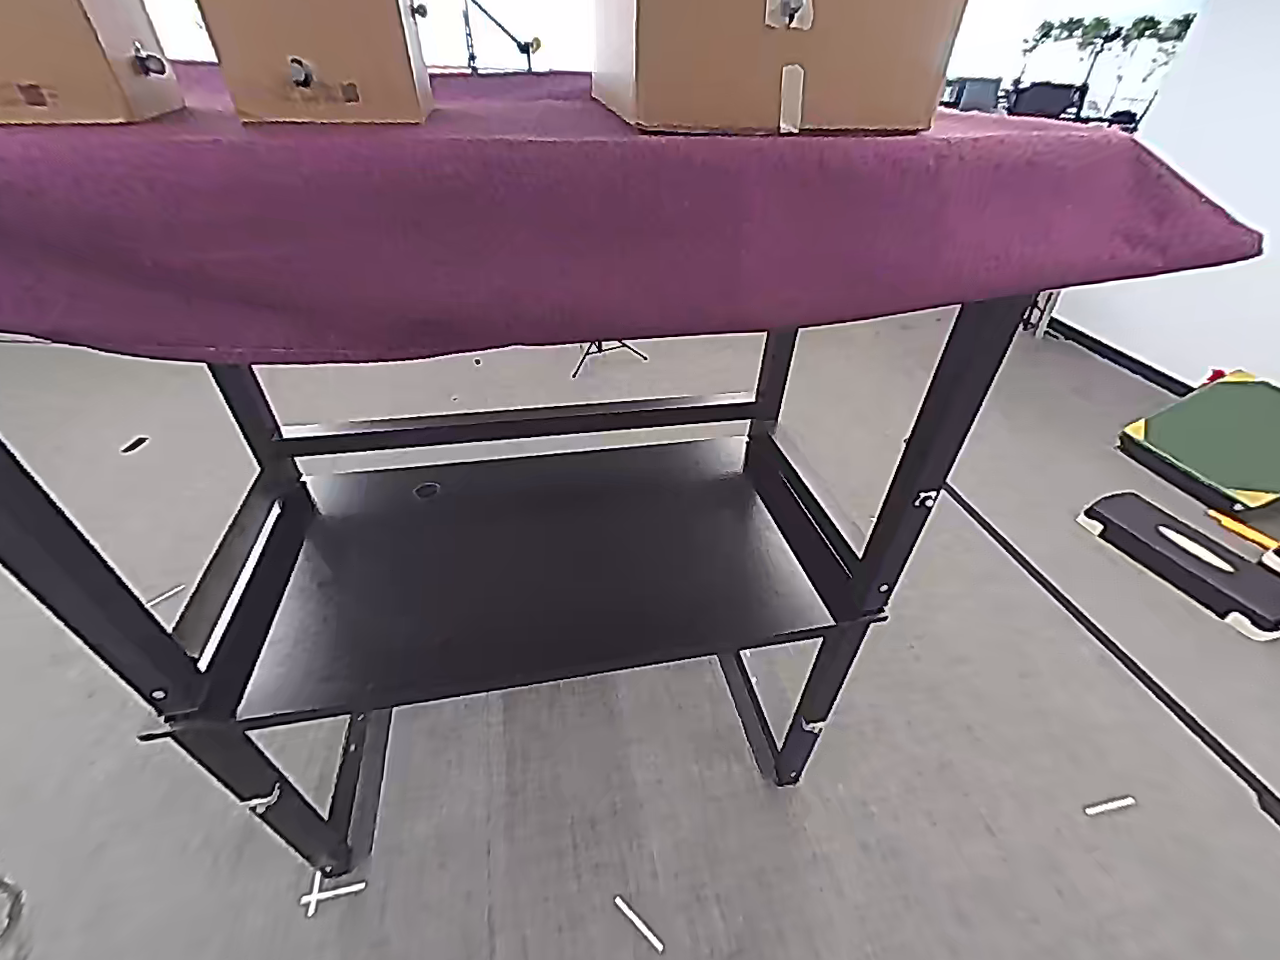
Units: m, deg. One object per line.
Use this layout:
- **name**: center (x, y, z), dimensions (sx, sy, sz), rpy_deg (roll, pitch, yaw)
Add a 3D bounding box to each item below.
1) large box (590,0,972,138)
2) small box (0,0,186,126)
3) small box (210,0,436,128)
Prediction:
- **large box**: center (0.117, -0.572, 0.586), dimensions (0.320, 0.320, 0.408), rpy_deg (-5, 38, -9)
- **small box**: center (-0.538, -0.414, 0.465), dimensions (0.168, 0.176, 0.179), rpy_deg (-12, 40, -17)
- **small box**: center (-0.307, -0.461, 0.536), dimensions (0.168, 0.176, 0.179), rpy_deg (-7, 40, -10)
